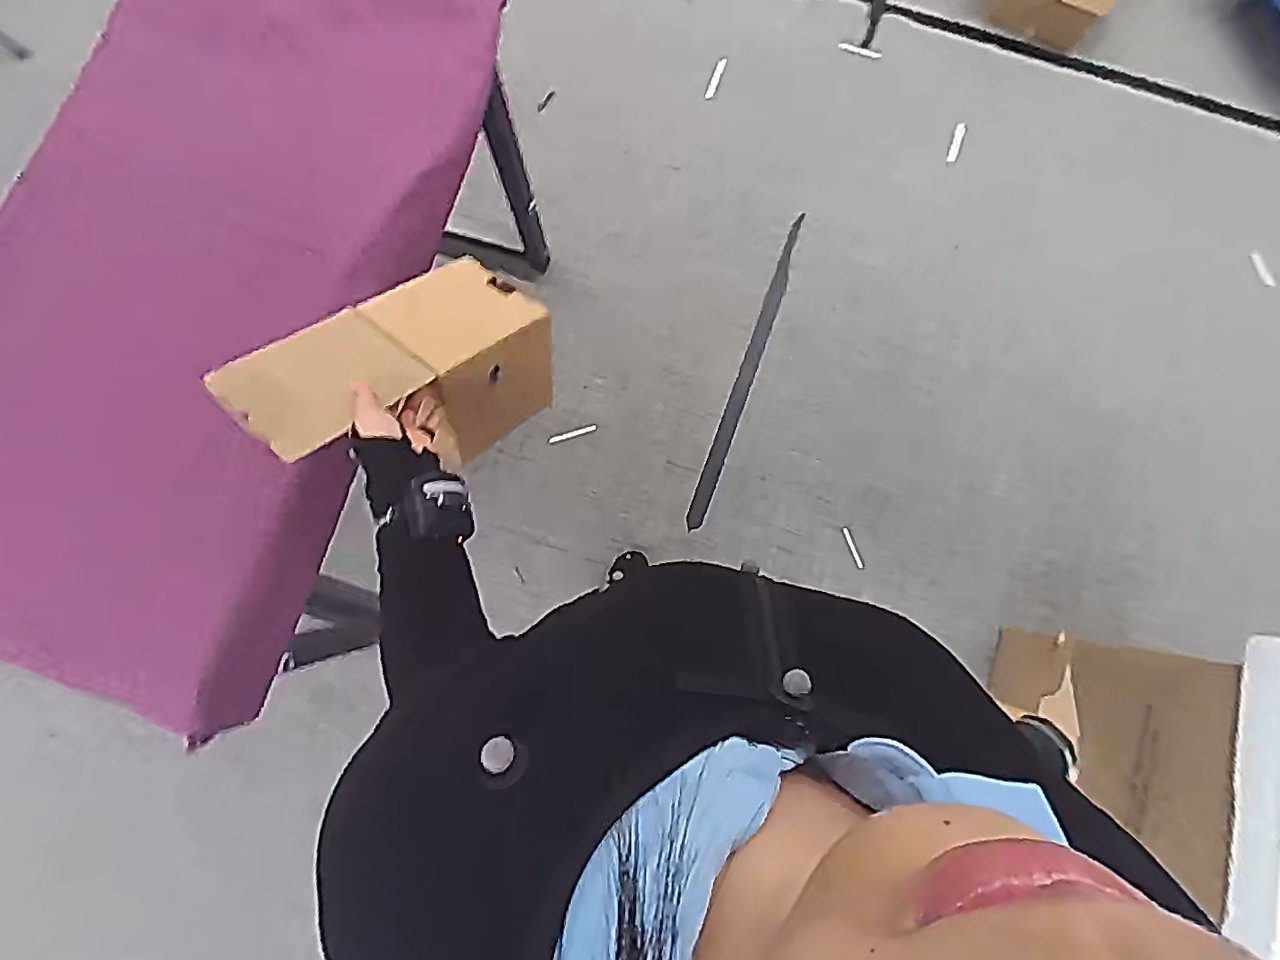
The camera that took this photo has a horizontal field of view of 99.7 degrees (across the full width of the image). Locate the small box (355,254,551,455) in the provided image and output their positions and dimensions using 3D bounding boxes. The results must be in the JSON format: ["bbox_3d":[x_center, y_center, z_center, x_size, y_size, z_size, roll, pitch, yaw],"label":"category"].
[{"bbox_3d":[-0.236,-0.166,0.731,0.168,0.176,0.179,36,59,20],"label":"small box"}]
